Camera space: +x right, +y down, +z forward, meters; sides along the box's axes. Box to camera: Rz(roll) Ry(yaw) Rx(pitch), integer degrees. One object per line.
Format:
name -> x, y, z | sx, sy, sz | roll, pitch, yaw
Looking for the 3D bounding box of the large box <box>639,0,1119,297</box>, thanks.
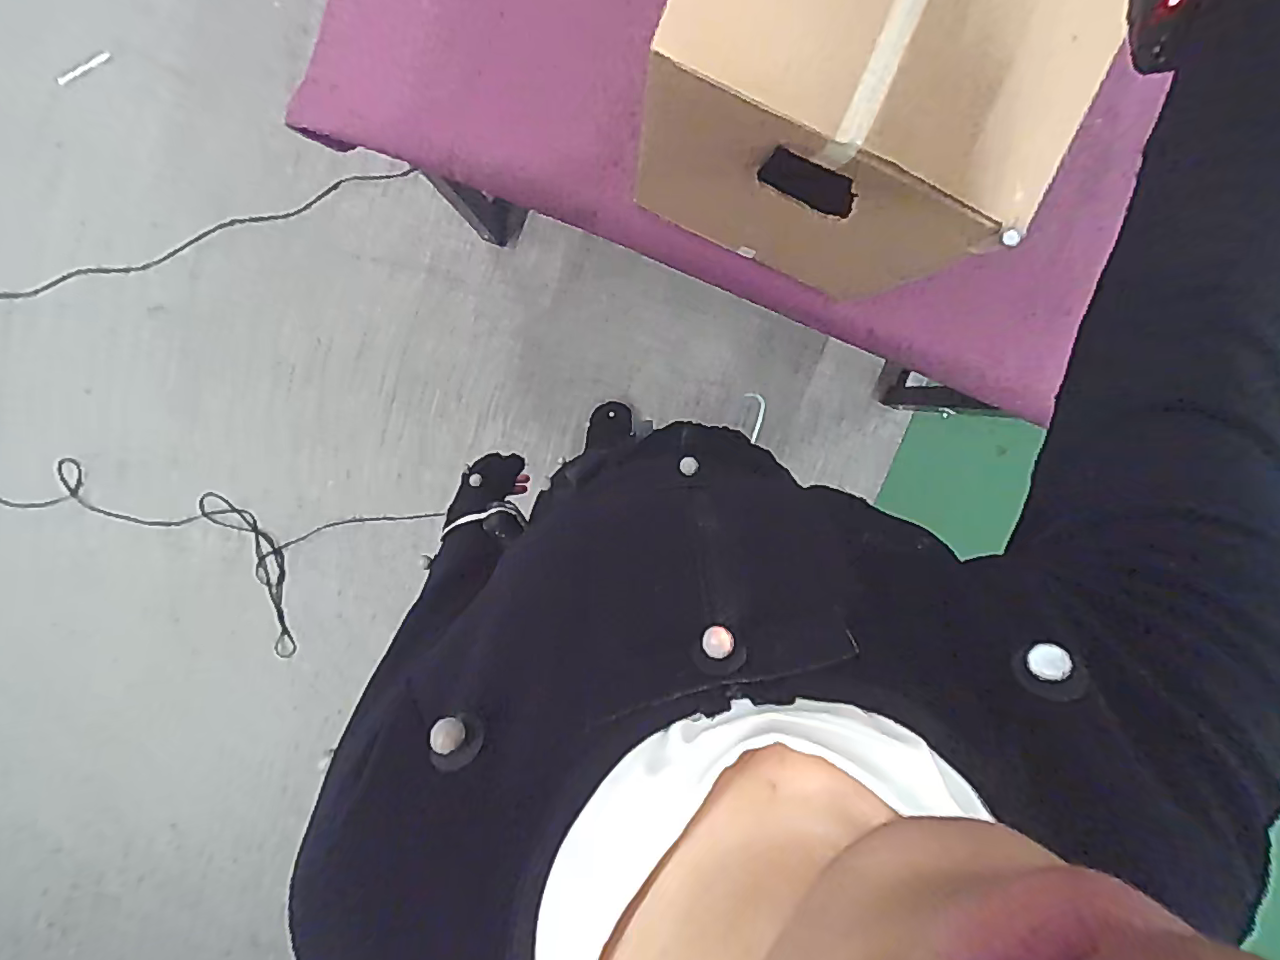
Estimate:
large box -> 0.219, -0.454, 0.538 | 0.320, 0.320, 0.408 | 23, 98, -6
